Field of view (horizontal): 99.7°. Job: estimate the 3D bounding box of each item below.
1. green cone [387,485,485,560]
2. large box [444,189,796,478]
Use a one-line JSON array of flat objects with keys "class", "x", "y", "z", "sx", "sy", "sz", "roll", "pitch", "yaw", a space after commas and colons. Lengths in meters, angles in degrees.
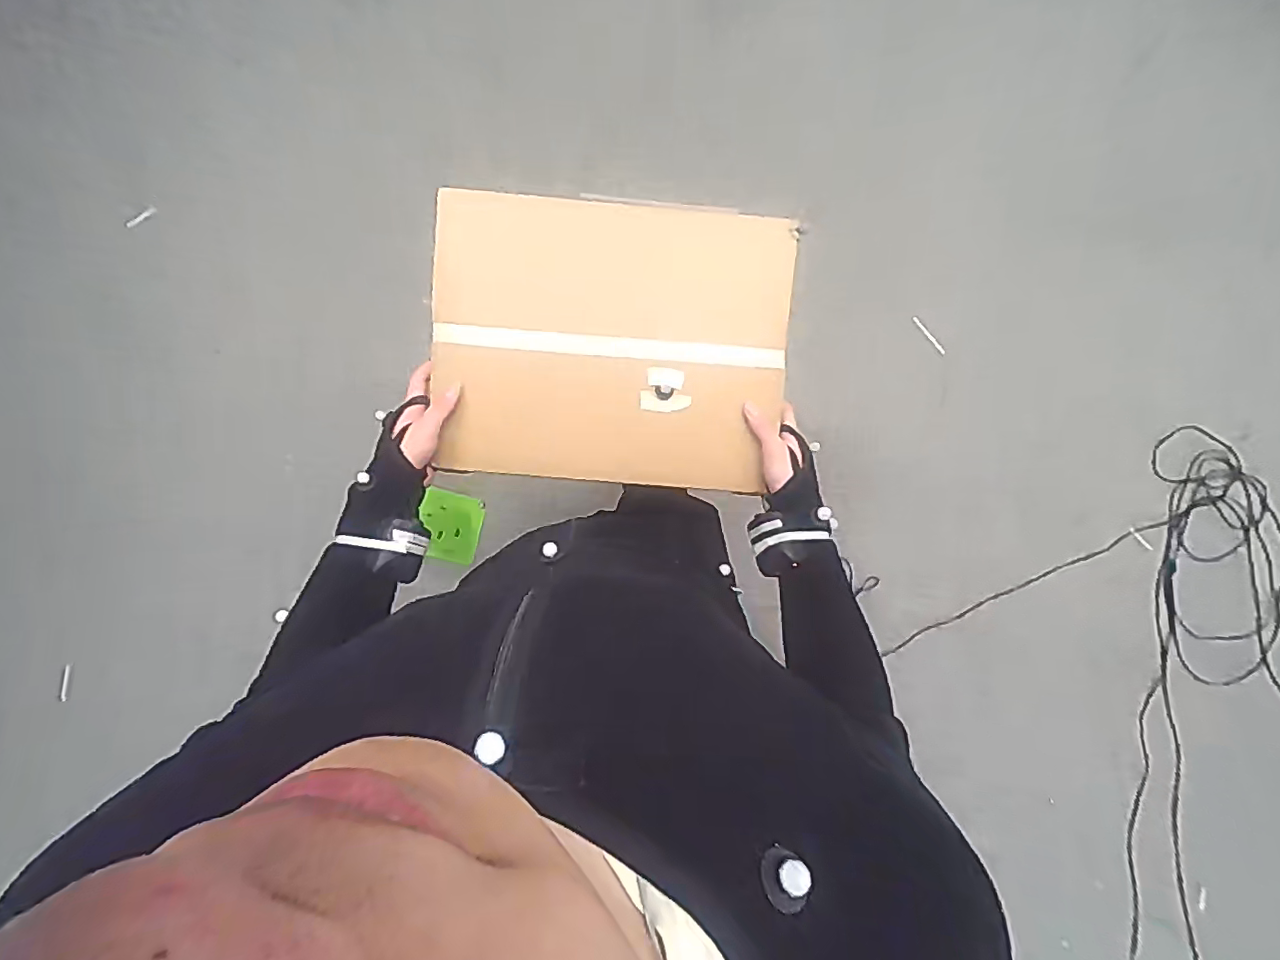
[{"class": "green cone", "x": -0.577, "y": 0.131, "z": 1.444, "sx": 0.200, "sy": 0.368, "sz": 0.202, "roll": 12, "pitch": 91, "yaw": 0}, {"class": "large box", "x": -0.033, "y": -0.181, "z": 0.777, "sx": 0.408, "sy": 0.320, "sz": 0.320, "roll": 4, "pitch": 97, "yaw": -2}]
